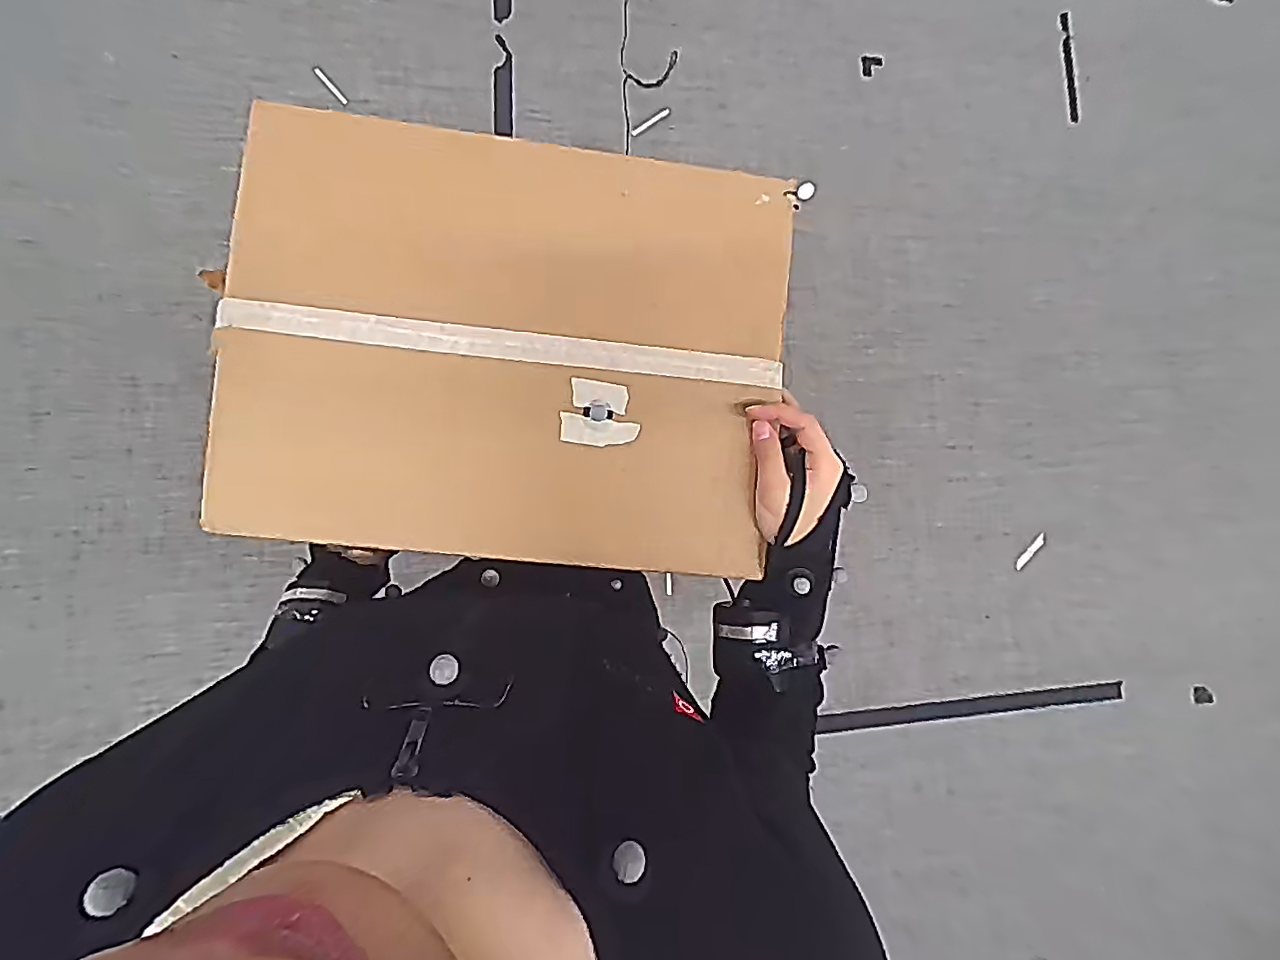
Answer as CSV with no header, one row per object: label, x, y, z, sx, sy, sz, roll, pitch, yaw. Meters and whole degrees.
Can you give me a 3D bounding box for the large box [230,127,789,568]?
large box,-0.103,-0.091,0.558,0.408,0.320,0.320,5,88,-6
